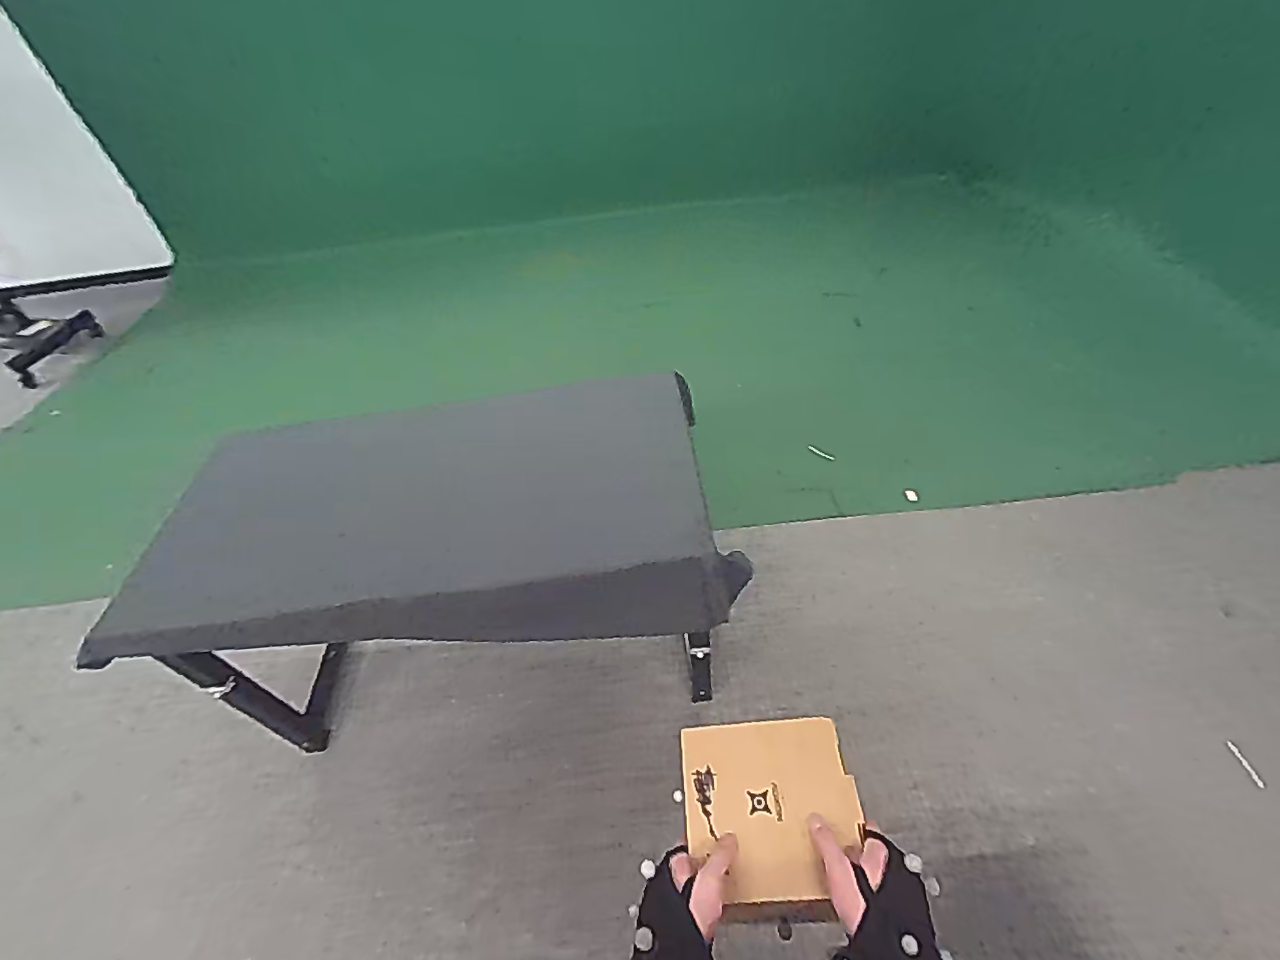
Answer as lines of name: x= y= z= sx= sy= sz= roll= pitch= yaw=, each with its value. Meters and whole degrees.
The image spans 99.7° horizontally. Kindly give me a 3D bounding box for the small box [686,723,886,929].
small box: x=0.150 y=0.393 z=0.612 sx=0.179 sy=0.176 sz=0.168 roll=-7 pitch=45 yaw=5
